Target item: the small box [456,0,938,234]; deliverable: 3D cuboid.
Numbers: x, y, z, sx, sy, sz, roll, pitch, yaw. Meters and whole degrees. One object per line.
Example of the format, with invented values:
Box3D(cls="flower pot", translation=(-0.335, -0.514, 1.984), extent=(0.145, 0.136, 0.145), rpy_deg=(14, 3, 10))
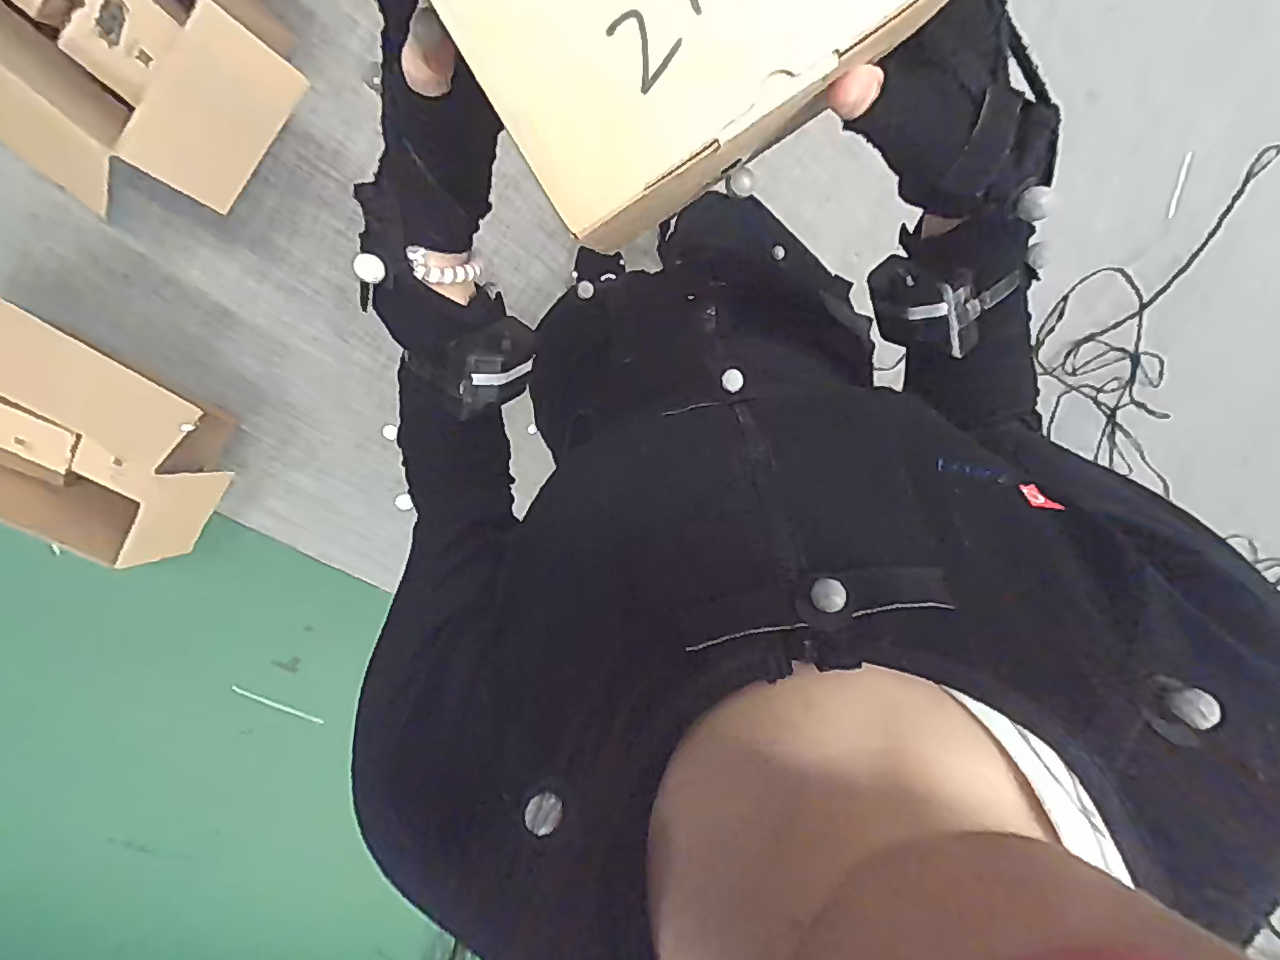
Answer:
Box3D(cls="small box", translation=(0.006, -0.229, 0.226), extent=(0.168, 0.176, 0.179), rpy_deg=(-29, 107, 12))
